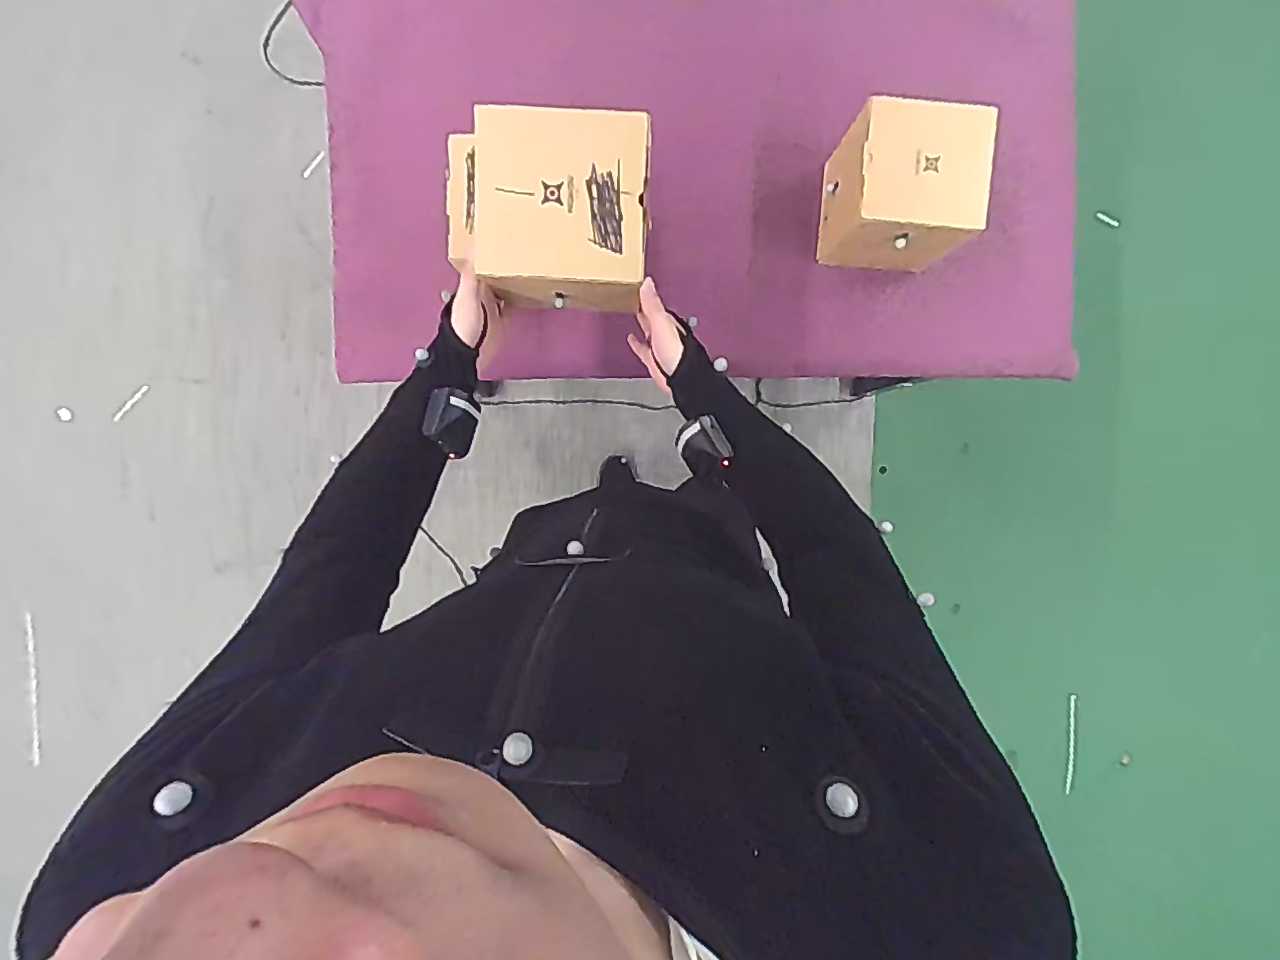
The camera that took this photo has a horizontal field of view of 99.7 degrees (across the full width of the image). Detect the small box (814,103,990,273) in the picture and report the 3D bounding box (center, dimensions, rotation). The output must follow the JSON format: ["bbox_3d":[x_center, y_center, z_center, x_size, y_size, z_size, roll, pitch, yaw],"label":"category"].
[{"bbox_3d":[0.384,-0.427,0.820,0.179,0.176,0.168,5,92,-1],"label":"small box"}]

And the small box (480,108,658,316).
[{"bbox_3d":[-0.076,-0.291,0.625,0.179,0.176,0.168,3,96,-2],"label":"small box"}]
